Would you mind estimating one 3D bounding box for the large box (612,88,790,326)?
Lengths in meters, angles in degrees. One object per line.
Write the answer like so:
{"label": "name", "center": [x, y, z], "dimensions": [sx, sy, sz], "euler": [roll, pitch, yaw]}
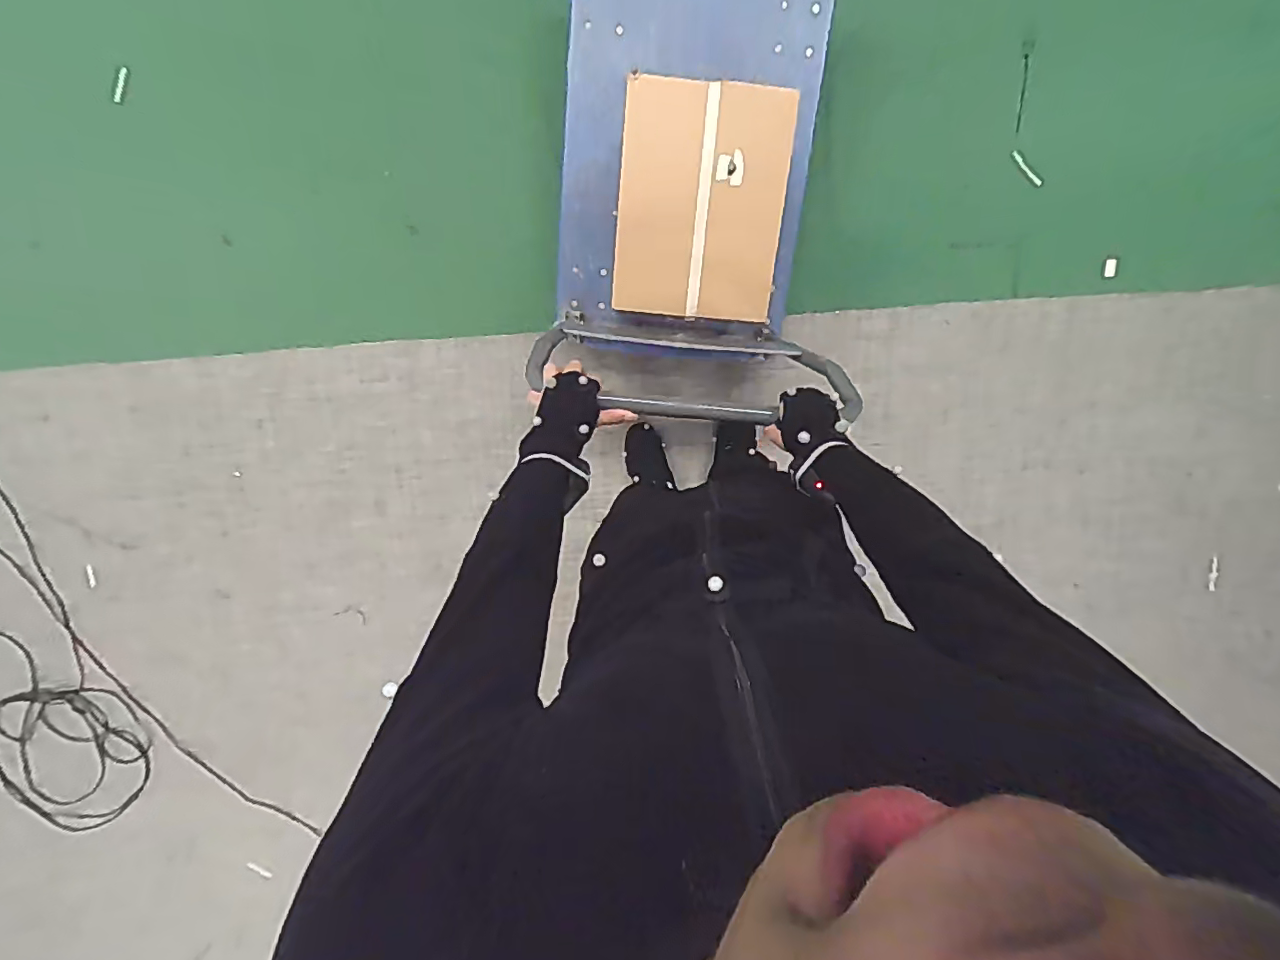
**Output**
{"label": "large box", "center": [0.111, -0.552, 1.180], "dimensions": [0.320, 0.320, 0.408], "euler": [4, 106, -2]}
